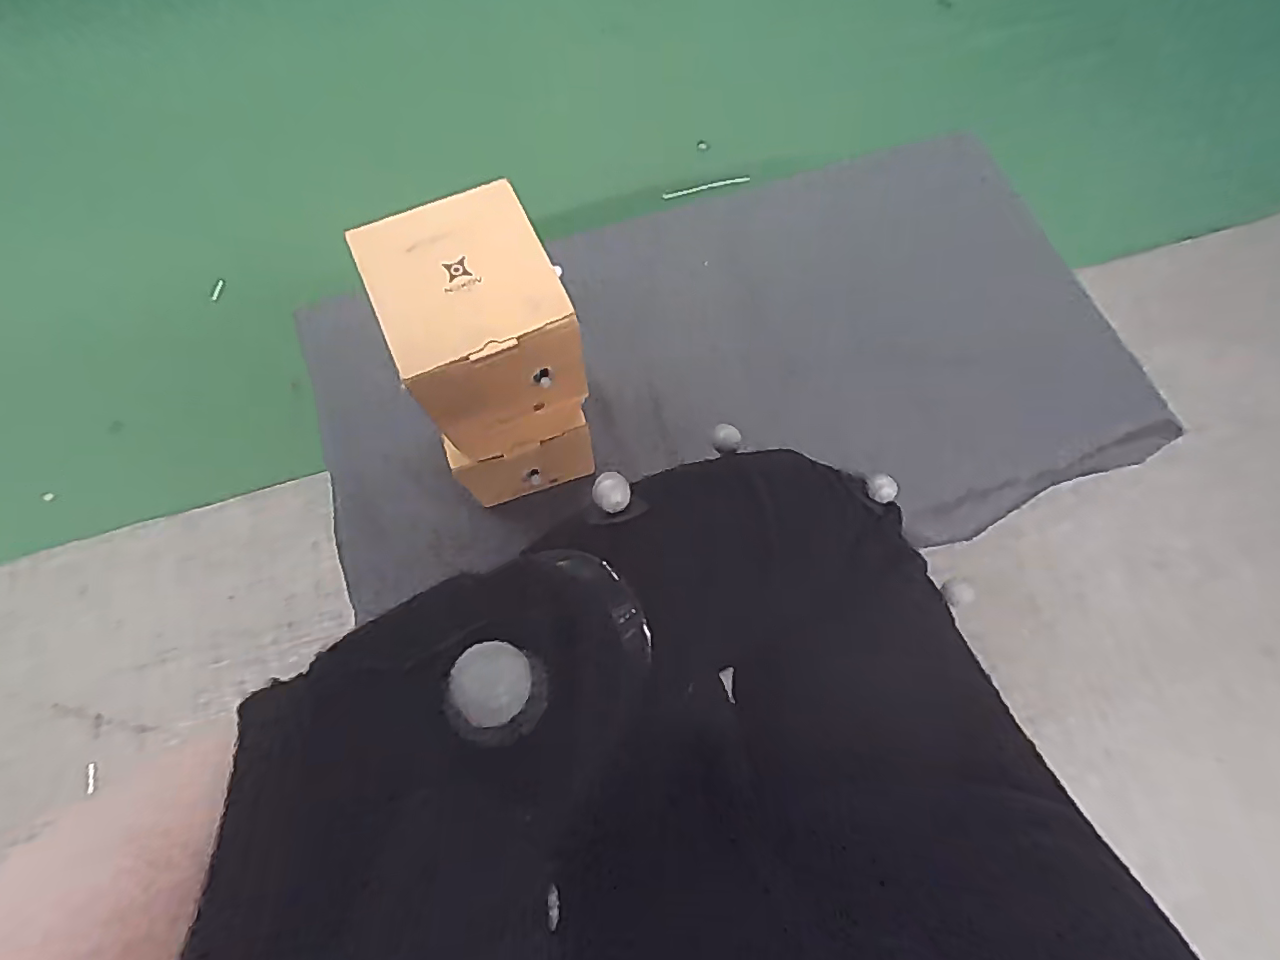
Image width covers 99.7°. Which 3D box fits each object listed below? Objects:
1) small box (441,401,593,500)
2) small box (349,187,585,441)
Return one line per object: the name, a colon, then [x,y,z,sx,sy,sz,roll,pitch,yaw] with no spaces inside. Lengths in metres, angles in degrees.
small box: [-0.166,-0.084,0.722,0.168,0.176,0.179,-19,74,-8]
small box: [-0.167,-0.160,0.575,0.168,0.176,0.179,-25,73,-10]
